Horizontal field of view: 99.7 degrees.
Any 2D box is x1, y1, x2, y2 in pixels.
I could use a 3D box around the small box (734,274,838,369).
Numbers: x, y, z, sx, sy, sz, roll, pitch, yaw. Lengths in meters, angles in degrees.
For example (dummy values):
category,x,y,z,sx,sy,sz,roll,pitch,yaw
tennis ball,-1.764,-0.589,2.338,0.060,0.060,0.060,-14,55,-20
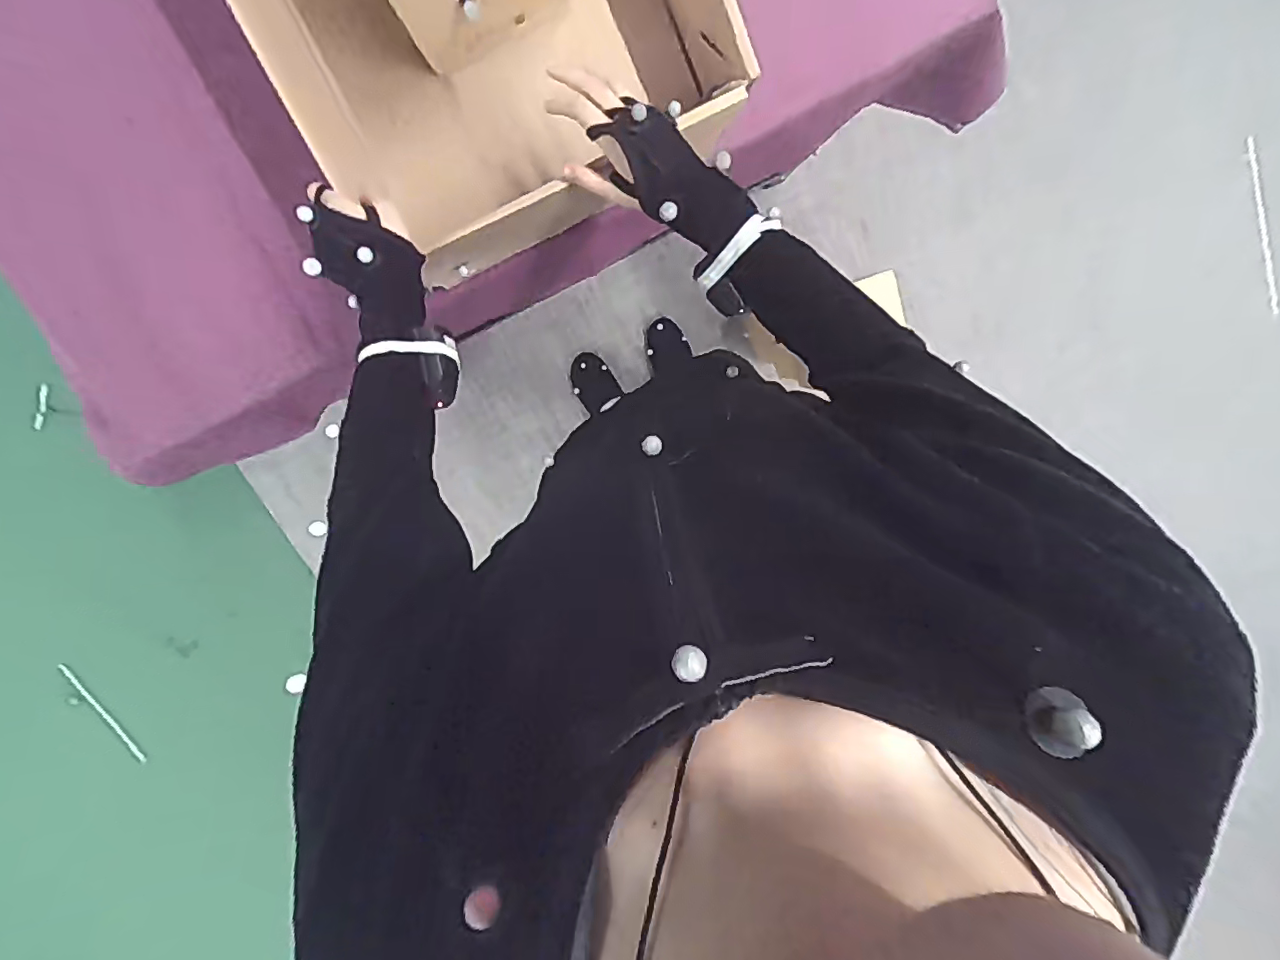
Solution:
category,x,y,z,sx,sy,sz,roll,pitch,yaw
small box,0.359,-0.396,1.360,0.179,0.176,0.168,-27,104,4
